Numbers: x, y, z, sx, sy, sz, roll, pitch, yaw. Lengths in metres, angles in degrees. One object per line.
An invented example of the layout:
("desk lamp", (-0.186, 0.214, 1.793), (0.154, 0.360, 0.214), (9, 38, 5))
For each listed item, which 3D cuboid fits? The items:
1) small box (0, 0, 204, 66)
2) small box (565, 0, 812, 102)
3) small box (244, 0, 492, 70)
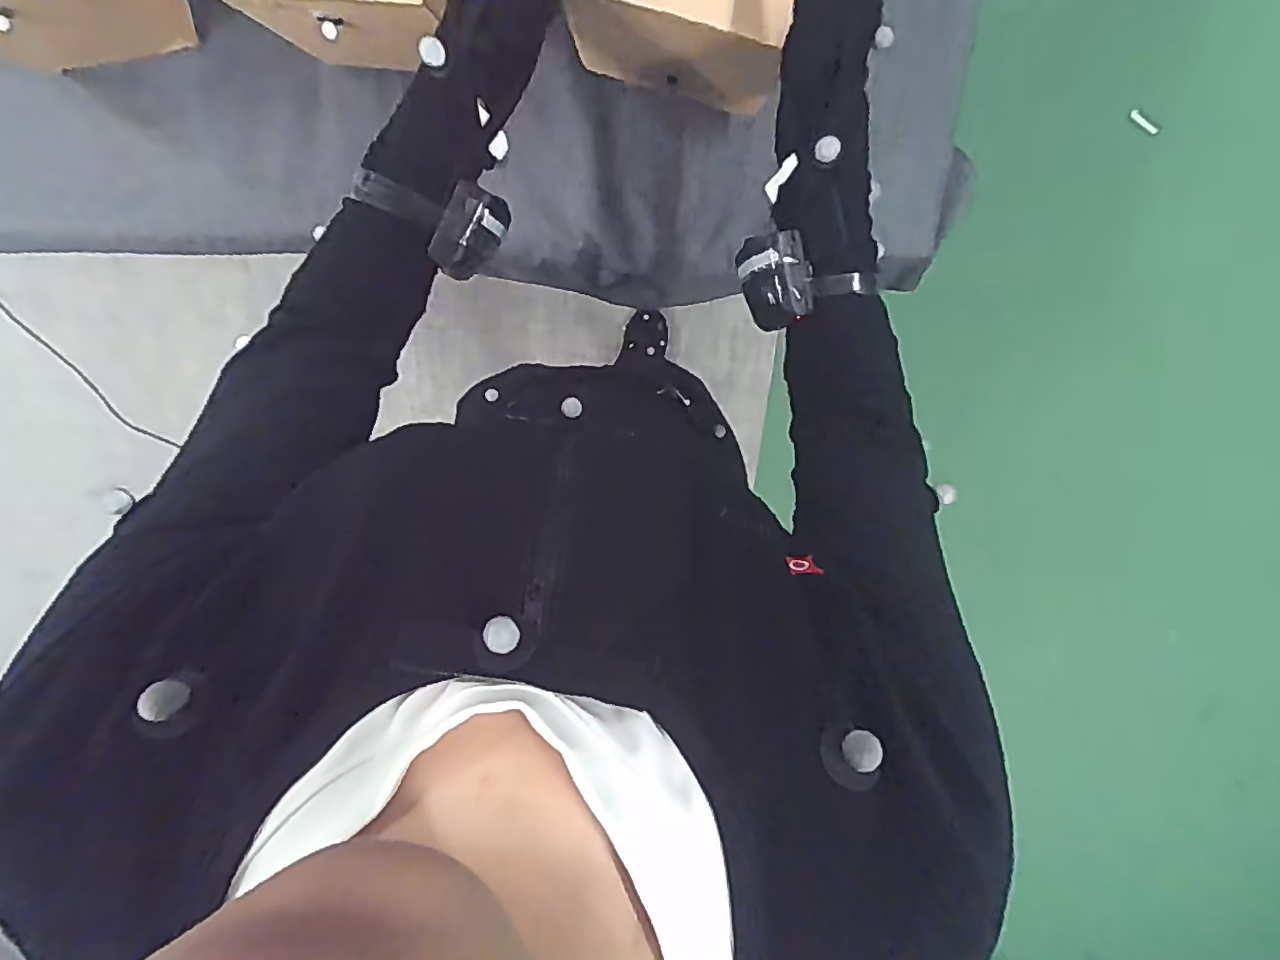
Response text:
("small box", (-0.556, -0.499, 0.480), (0.179, 0.176, 0.168), (-6, 113, 5))
("small box", (0.047, -0.425, 0.421), (0.179, 0.176, 0.168), (13, 111, -4))
("small box", (-0.240, -0.480, 0.465), (0.179, 0.176, 0.168), (4, 112, 1))
